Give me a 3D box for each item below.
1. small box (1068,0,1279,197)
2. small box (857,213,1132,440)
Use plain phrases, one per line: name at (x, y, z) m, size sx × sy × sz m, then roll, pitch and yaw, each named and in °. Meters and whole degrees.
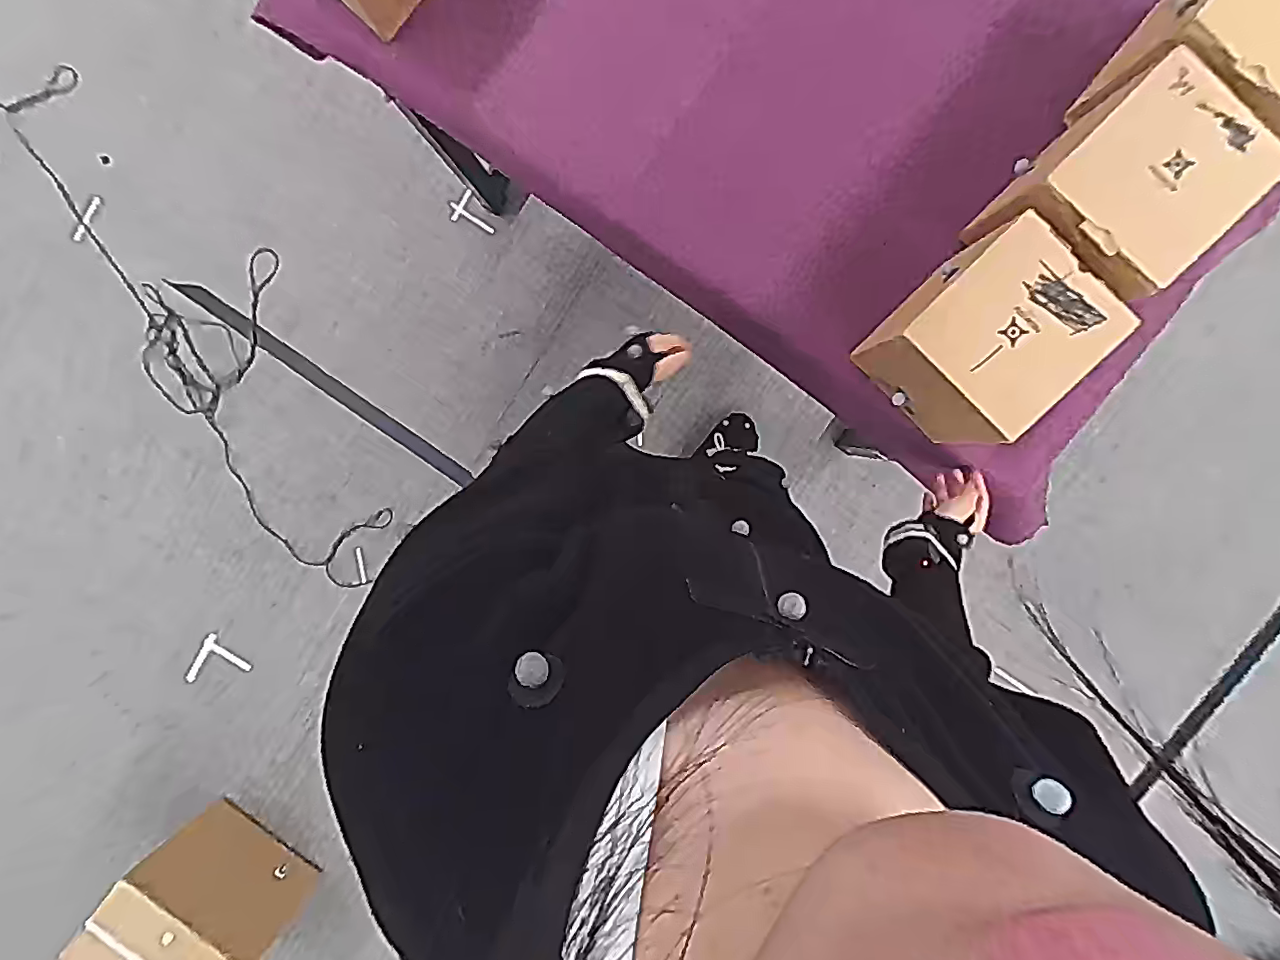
small box at (0.642, -0.462, 0.598) m, size 0.168 × 0.176 × 0.179 m, roll 38°, pitch 95°, yaw -2°
small box at (0.394, -0.165, 0.640) m, size 0.179 × 0.176 × 0.168 m, roll -44°, pitch 91°, yaw 6°
